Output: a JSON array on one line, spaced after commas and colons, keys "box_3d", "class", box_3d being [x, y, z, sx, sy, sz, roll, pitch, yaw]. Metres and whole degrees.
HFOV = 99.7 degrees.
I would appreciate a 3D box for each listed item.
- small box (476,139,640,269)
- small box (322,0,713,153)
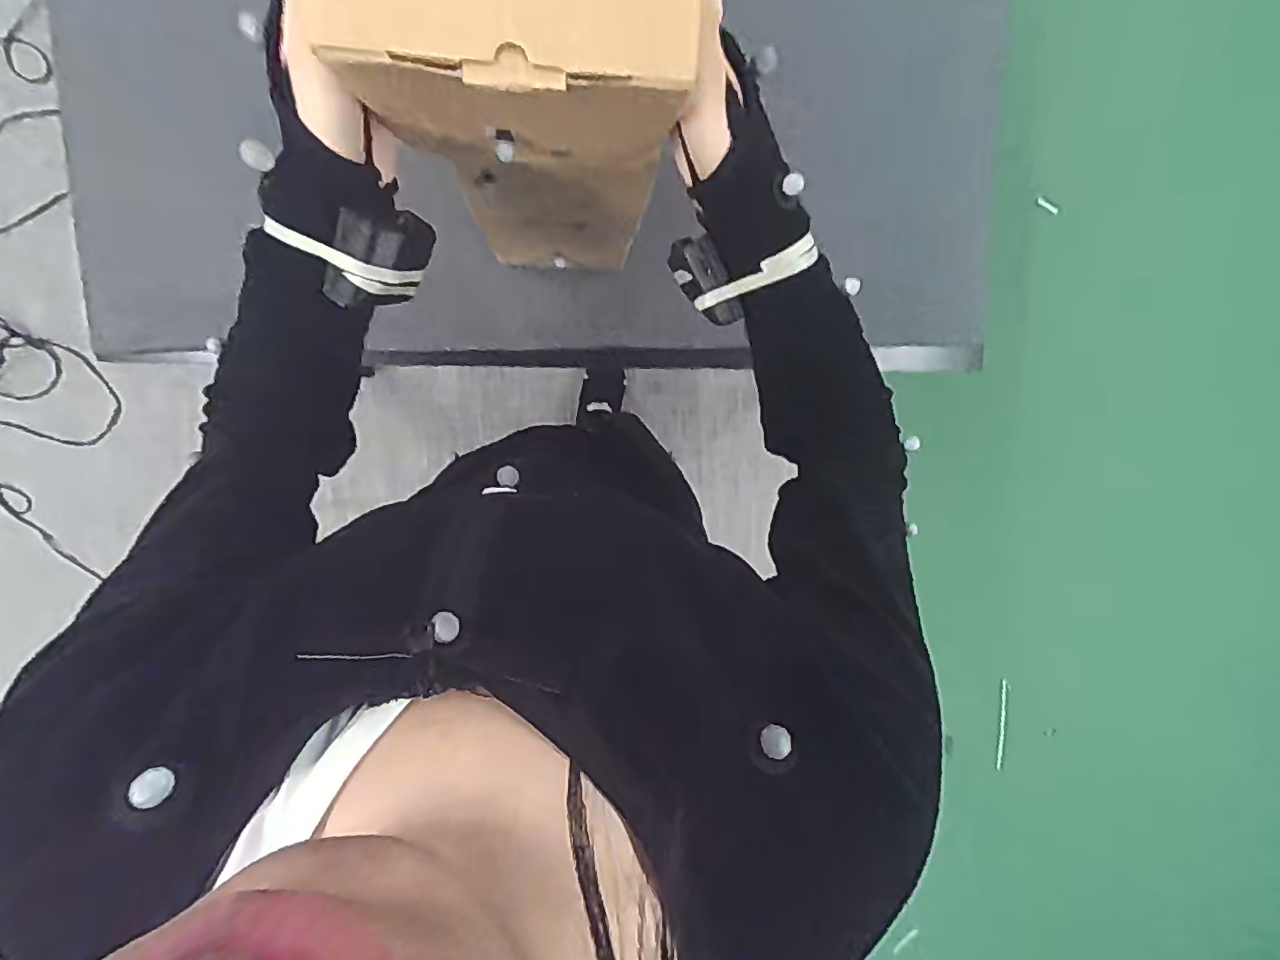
[{"box_3d": [-0.091, -0.360, 0.621, 0.168, 0.176, 0.179, 1, 96, -7], "class": "small box"}, {"box_3d": [-0.059, -0.292, 0.273, 0.168, 0.176, 0.179, -1, 108, -8], "class": "small box"}]
